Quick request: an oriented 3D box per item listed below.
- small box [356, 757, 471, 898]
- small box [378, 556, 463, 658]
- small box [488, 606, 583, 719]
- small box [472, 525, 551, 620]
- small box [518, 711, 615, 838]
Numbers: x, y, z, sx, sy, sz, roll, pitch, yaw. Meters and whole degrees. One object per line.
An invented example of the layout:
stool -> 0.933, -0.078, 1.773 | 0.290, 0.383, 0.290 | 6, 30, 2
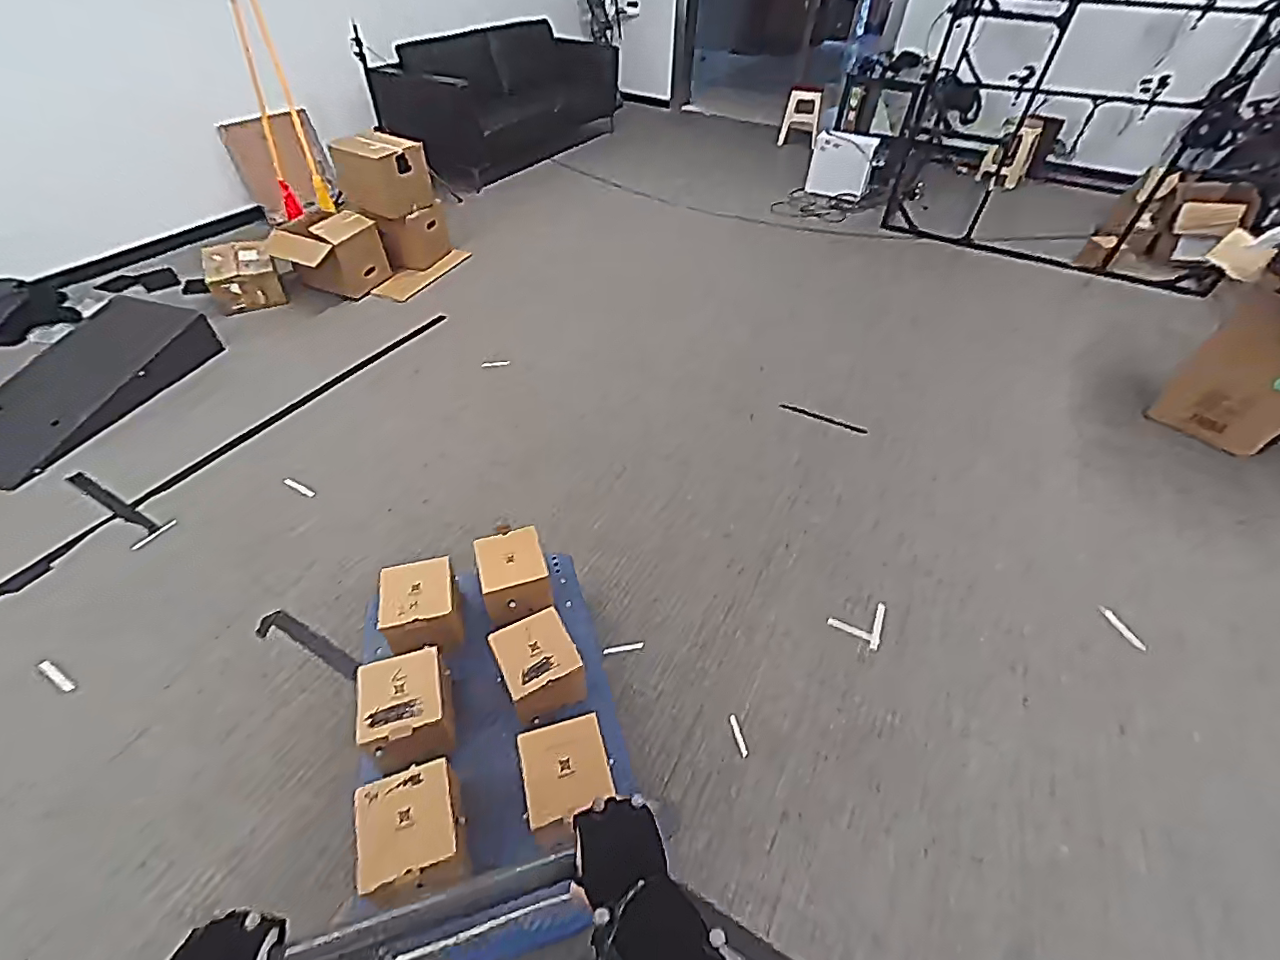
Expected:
small box -> -0.433, 0.674, 1.043 | 0.168, 0.176, 0.179 | -13, 48, -18
small box -> -0.554, 0.324, 1.378 | 0.168, 0.176, 0.179 | -10, 48, -13
small box -> -0.244, 0.440, 1.287 | 0.168, 0.176, 0.179 | -21, 50, -23
small box -> -0.345, 0.256, 1.461 | 0.168, 0.176, 0.179 | -14, 48, -16
small box -> -0.152, 0.616, 1.124 | 0.168, 0.176, 0.179 | -10, 47, -15
